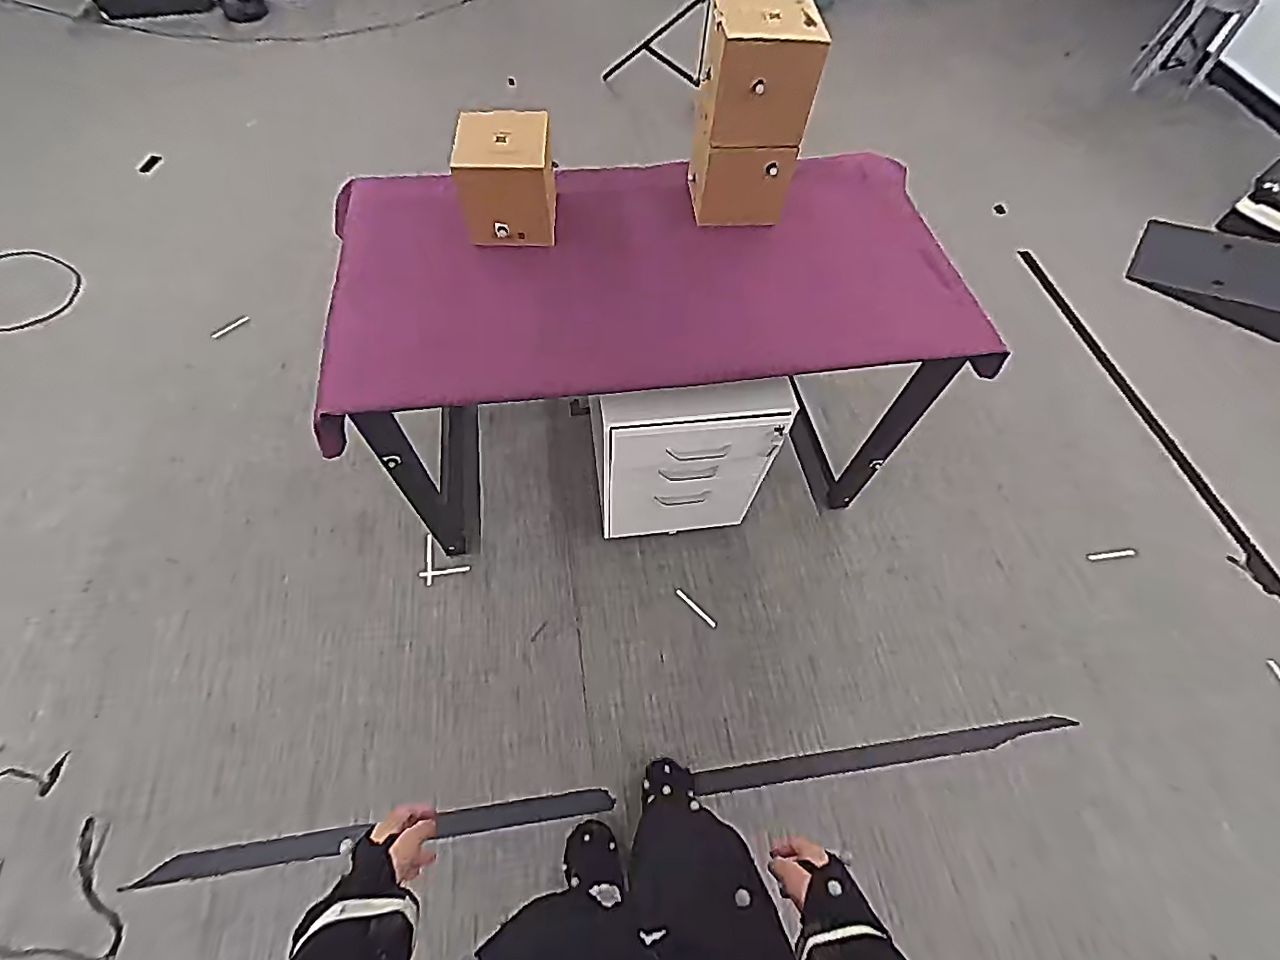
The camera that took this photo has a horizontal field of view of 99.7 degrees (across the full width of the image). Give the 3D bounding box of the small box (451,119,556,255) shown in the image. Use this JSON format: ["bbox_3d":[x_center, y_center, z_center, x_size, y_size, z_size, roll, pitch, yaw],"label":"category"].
[{"bbox_3d":[-0.255,-0.567,1.053,0.168,0.176,0.179,-2,63,-3],"label":"small box"}]

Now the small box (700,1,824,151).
[{"bbox_3d":[0.205,-0.719,0.972,0.179,0.176,0.168,-3,62,-3],"label":"small box"}]

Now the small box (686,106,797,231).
[{"bbox_3d":[0.200,-0.637,1.114,0.179,0.176,0.168,-4,61,-4],"label":"small box"}]
